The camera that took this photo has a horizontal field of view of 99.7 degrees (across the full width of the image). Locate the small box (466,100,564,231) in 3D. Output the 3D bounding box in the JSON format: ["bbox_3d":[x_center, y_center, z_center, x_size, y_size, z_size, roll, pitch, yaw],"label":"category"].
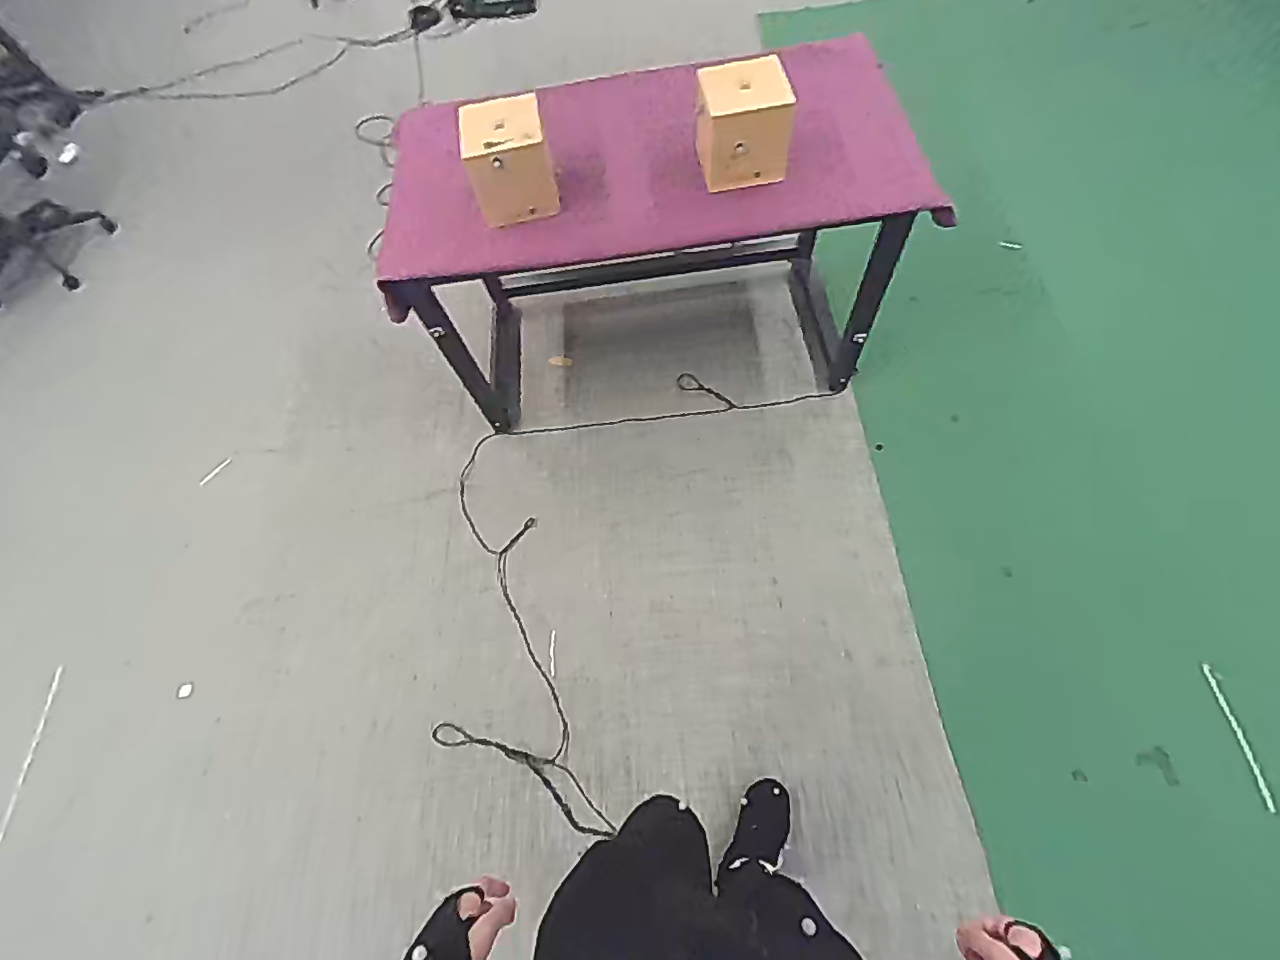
[{"bbox_3d":[-0.270,-0.684,1.185,0.168,0.176,0.179,-12,63,2],"label":"small box"}]

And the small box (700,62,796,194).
[{"bbox_3d":[0.224,-0.738,1.153,0.168,0.176,0.179,-9,62,4],"label":"small box"}]
